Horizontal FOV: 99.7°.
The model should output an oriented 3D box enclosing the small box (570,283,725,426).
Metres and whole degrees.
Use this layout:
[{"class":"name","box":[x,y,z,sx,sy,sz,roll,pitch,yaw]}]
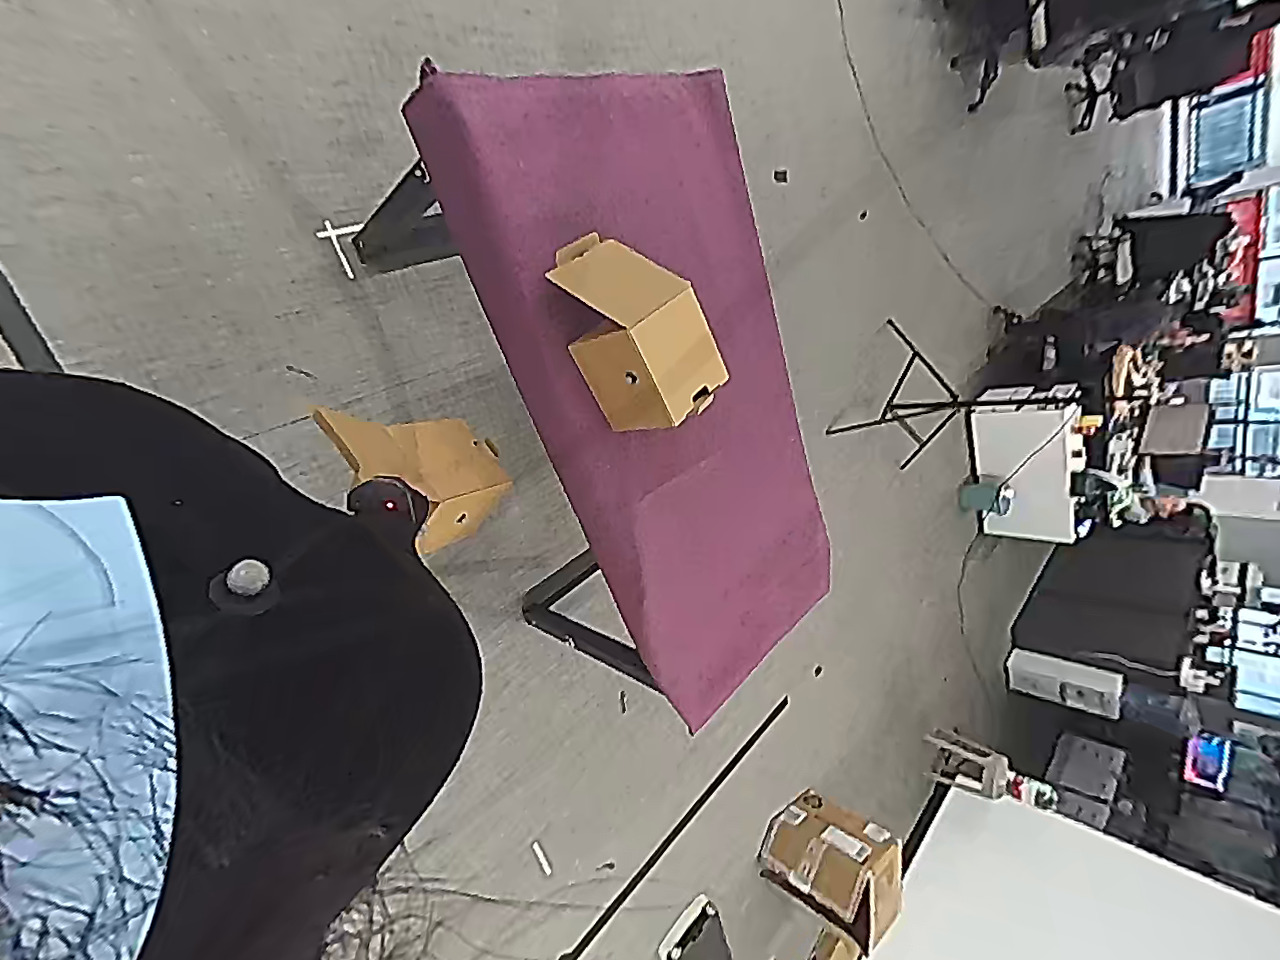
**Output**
[{"class":"small box","box":[0.010,-0.206,0.929,0.168,0.176,0.179,-43,118,-30]}]
